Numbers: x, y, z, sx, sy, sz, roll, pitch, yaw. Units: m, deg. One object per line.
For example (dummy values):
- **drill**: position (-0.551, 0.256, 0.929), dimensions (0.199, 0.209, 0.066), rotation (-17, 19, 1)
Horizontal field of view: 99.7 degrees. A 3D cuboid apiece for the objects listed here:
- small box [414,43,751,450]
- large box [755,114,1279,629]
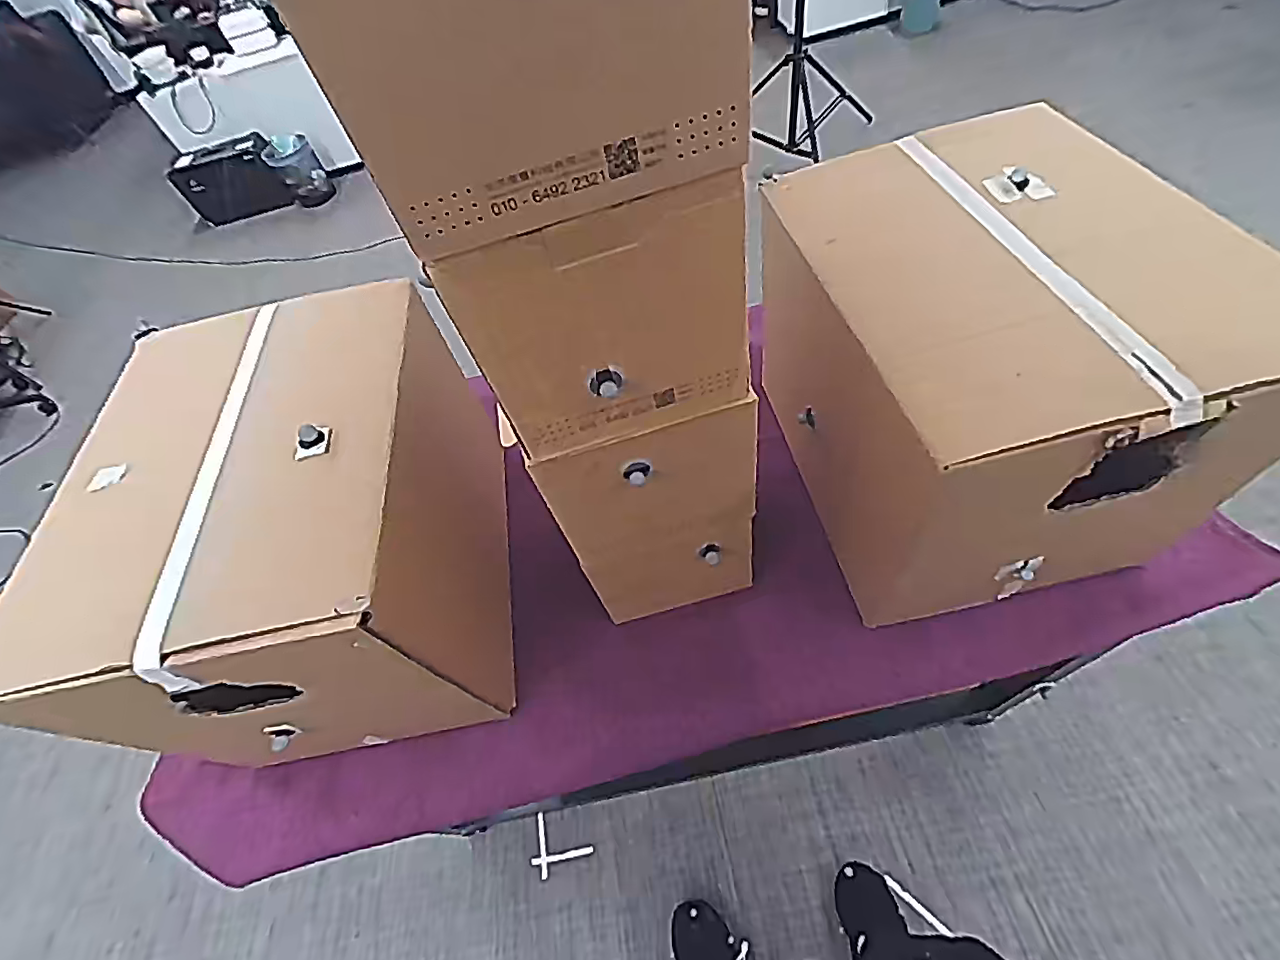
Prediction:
- **small box**: position (-0.034, -0.151, 0.367), dimensions (0.168, 0.176, 0.179), rotation (-18, 55, -1)
- **large box**: position (0.336, -0.111, 0.581), dimensions (0.320, 0.320, 0.408), rotation (-14, 53, 2)
